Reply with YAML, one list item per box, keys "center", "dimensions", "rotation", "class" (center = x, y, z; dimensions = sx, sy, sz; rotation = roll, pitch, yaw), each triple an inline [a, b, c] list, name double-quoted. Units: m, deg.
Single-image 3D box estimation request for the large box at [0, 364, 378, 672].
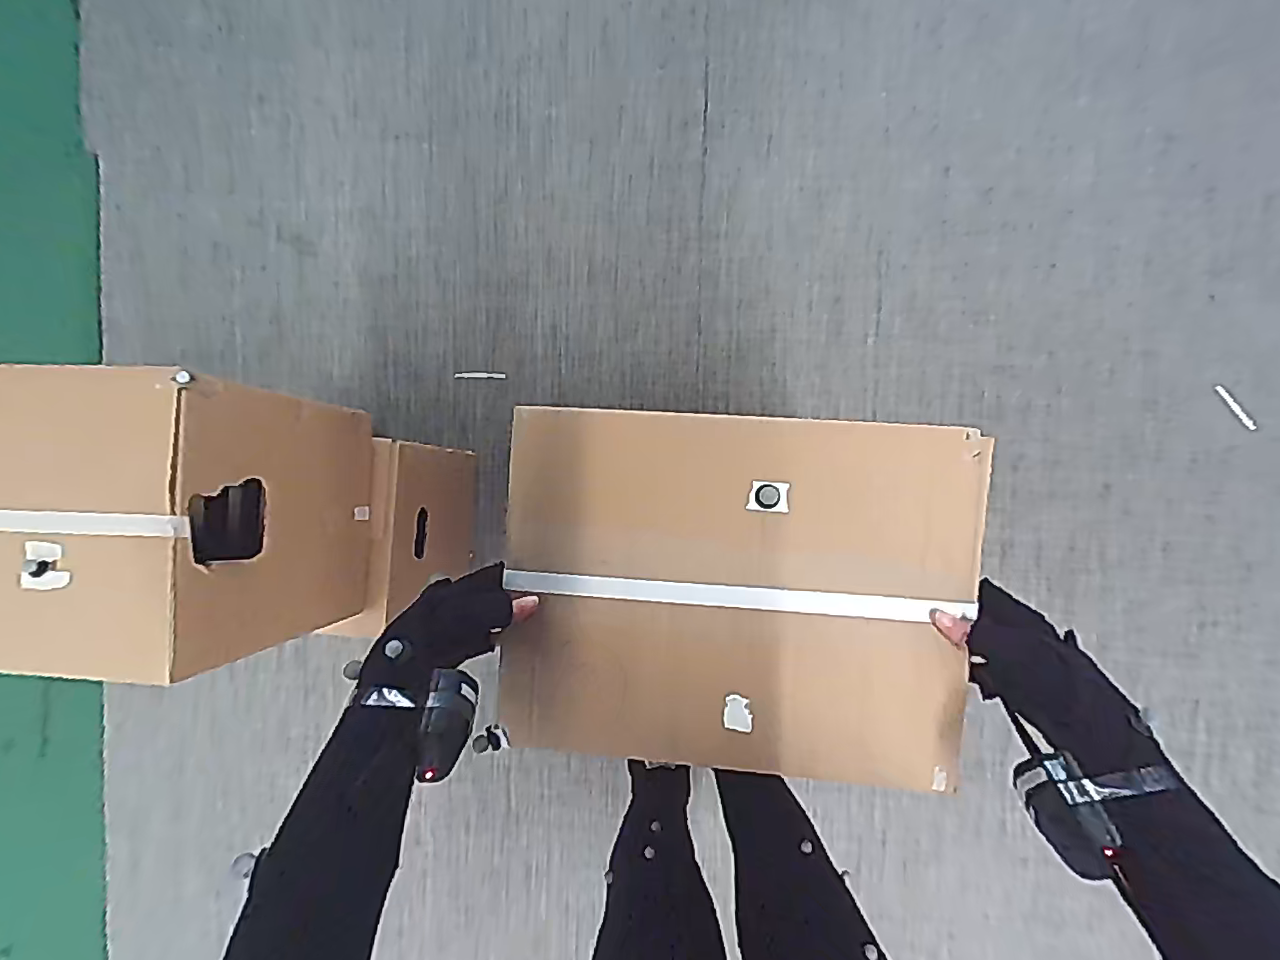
- center: [-0.622, 0.039, 0.702]
  dimensions: [0.408, 0.320, 0.320]
  rotation: [2, 89, 5]
  class: "large box"
